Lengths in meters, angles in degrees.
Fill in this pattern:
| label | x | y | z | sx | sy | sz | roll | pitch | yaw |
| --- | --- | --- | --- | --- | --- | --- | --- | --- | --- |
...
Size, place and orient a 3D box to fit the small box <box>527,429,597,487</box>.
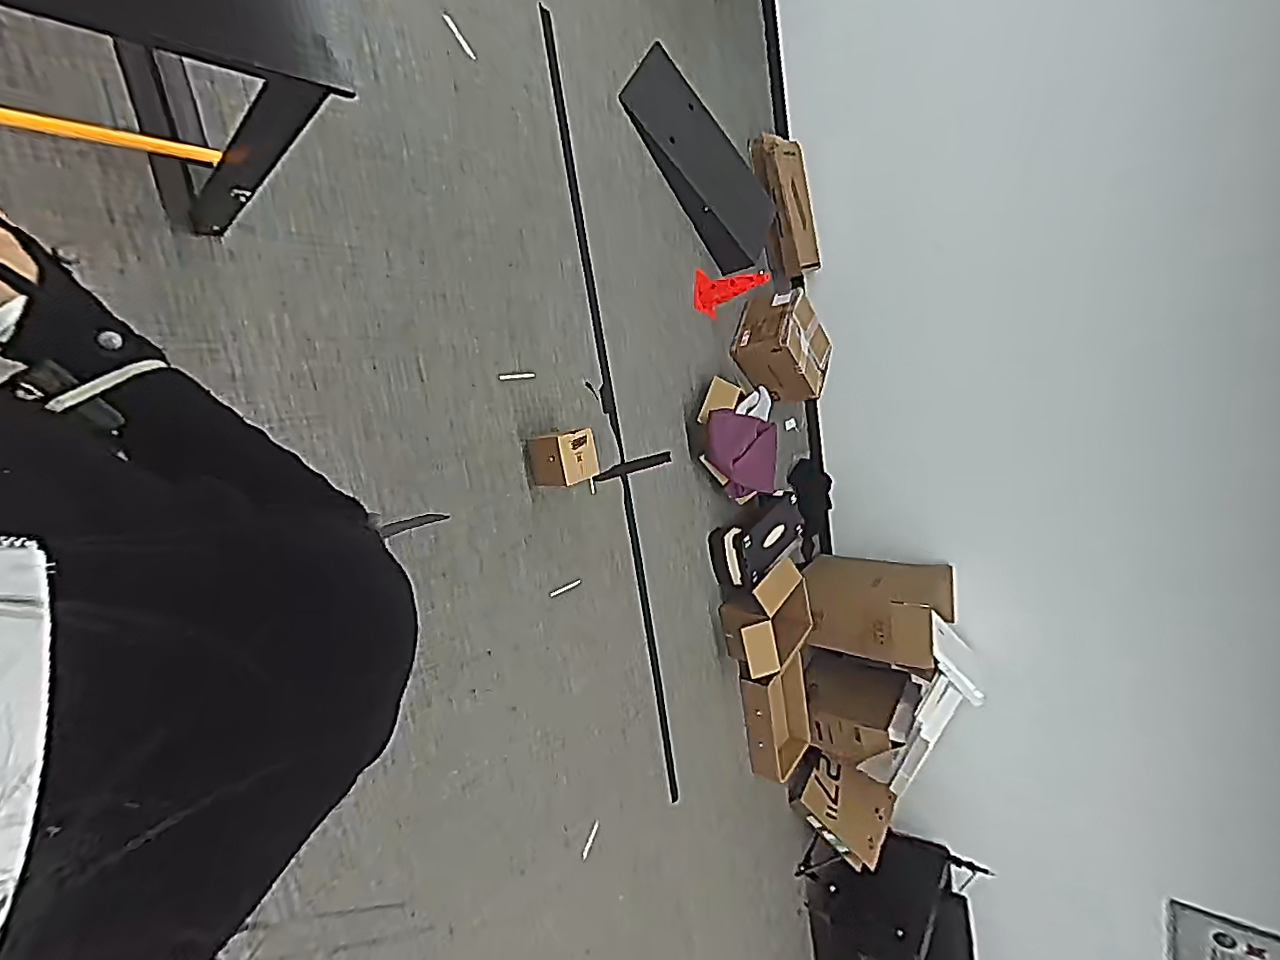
| label | x | y | z | sx | sy | sz | roll | pitch | yaw |
| --- | --- | --- | --- | --- | --- | --- | --- | --- | --- |
| small box | -0.280 | -0.078 | 1.924 | 0.168 | 0.176 | 0.179 | -23 | 107 | -47 |
